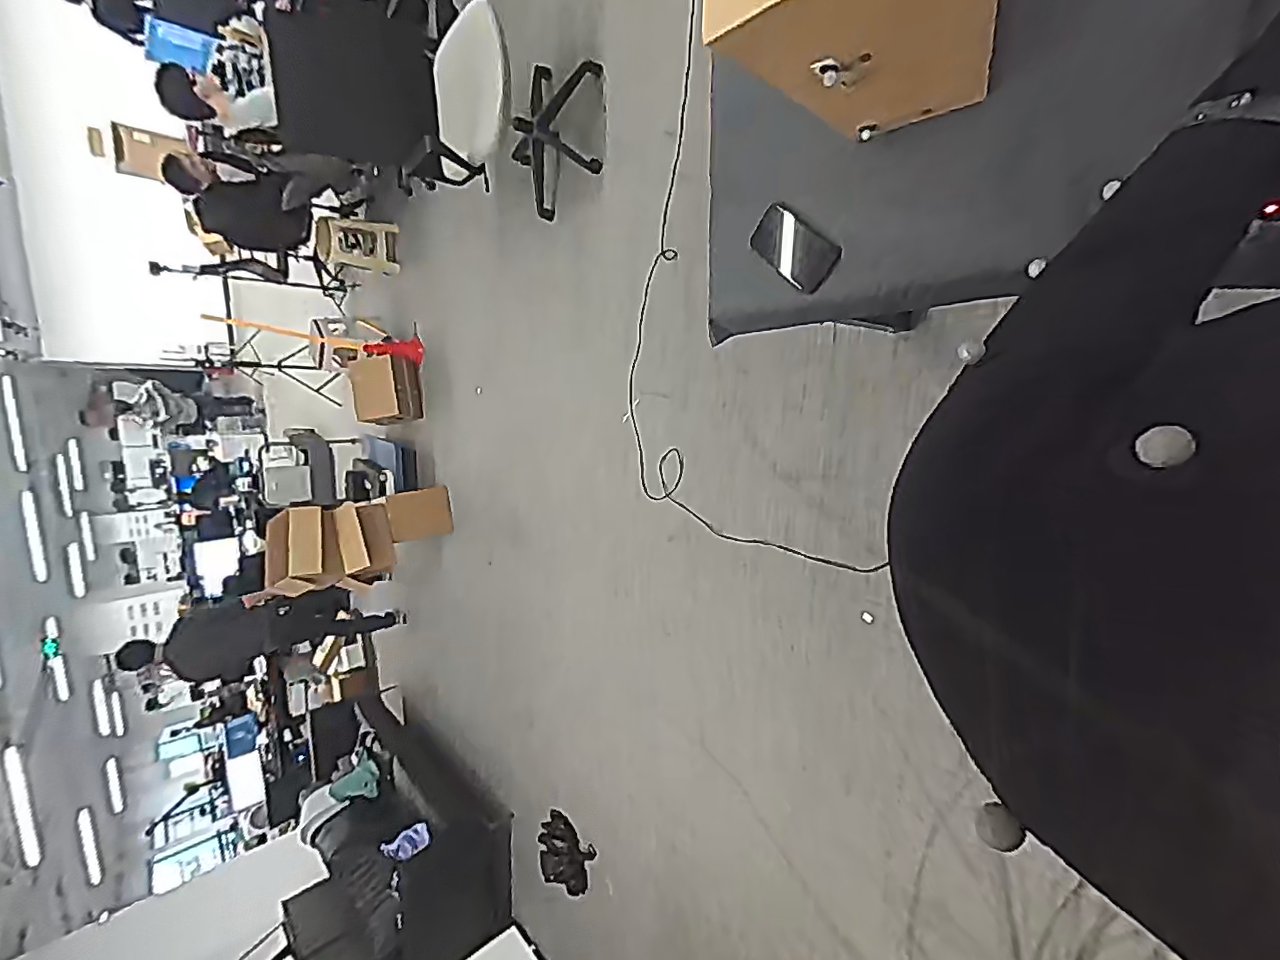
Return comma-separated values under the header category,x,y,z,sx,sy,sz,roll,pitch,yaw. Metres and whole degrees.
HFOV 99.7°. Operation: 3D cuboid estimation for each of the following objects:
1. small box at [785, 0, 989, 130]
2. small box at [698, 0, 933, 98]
category,x,y,z,sx,sy,sz,roll,pitch,yaw
small box,0.292,-0.542,0.634,0.168,0.176,0.179,12,104,45
small box,0.175,-0.520,0.524,0.168,0.176,0.179,11,105,47
